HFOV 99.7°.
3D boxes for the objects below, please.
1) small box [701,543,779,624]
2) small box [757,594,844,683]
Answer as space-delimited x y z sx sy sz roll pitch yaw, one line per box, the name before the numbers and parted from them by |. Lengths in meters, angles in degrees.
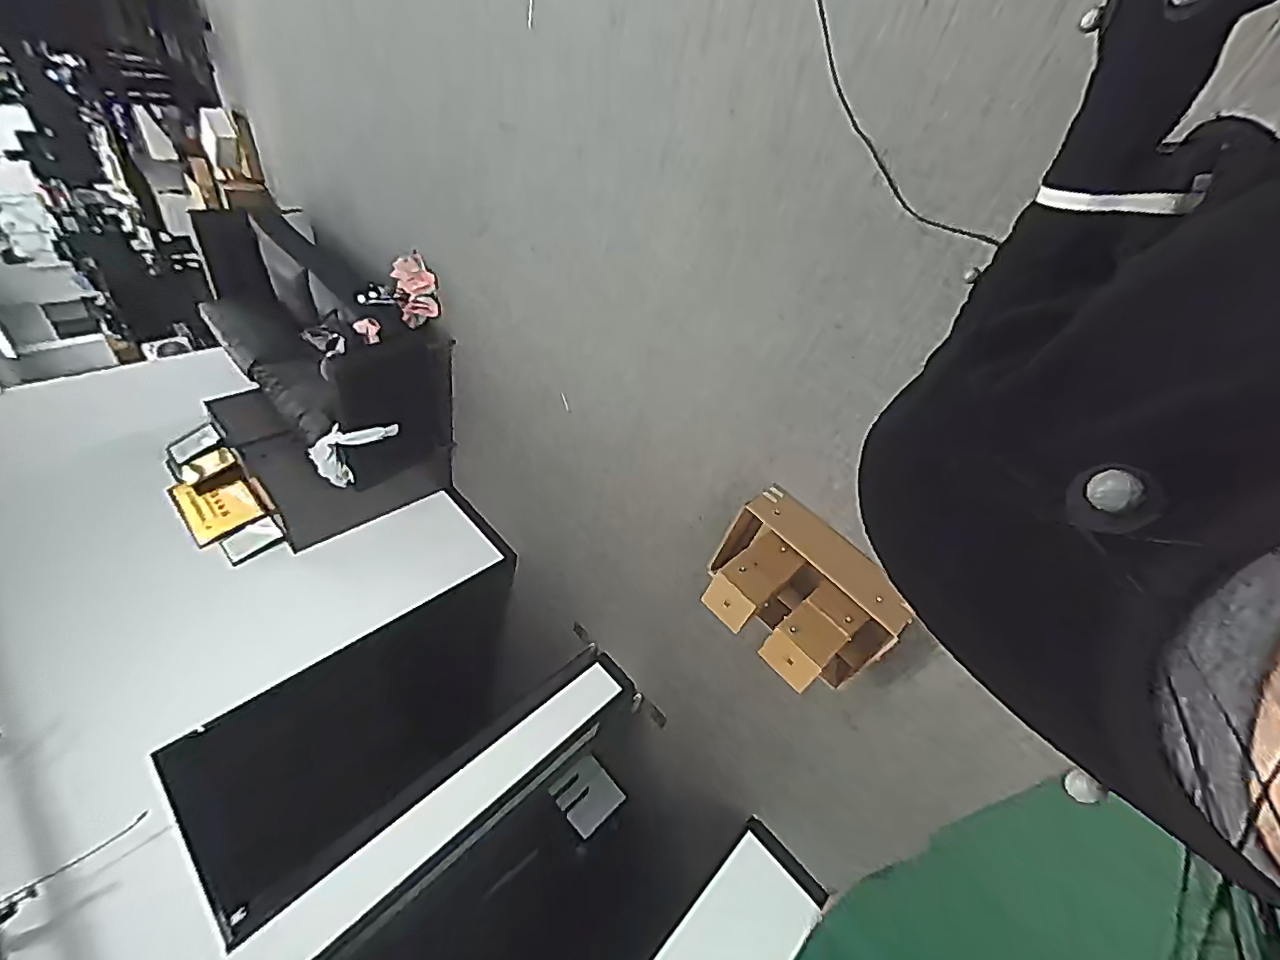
small box | 0.340 0.344 1.821 0.168 0.176 0.179 43 138 22
small box | 0.514 0.500 1.721 0.179 0.176 0.168 42 138 24
